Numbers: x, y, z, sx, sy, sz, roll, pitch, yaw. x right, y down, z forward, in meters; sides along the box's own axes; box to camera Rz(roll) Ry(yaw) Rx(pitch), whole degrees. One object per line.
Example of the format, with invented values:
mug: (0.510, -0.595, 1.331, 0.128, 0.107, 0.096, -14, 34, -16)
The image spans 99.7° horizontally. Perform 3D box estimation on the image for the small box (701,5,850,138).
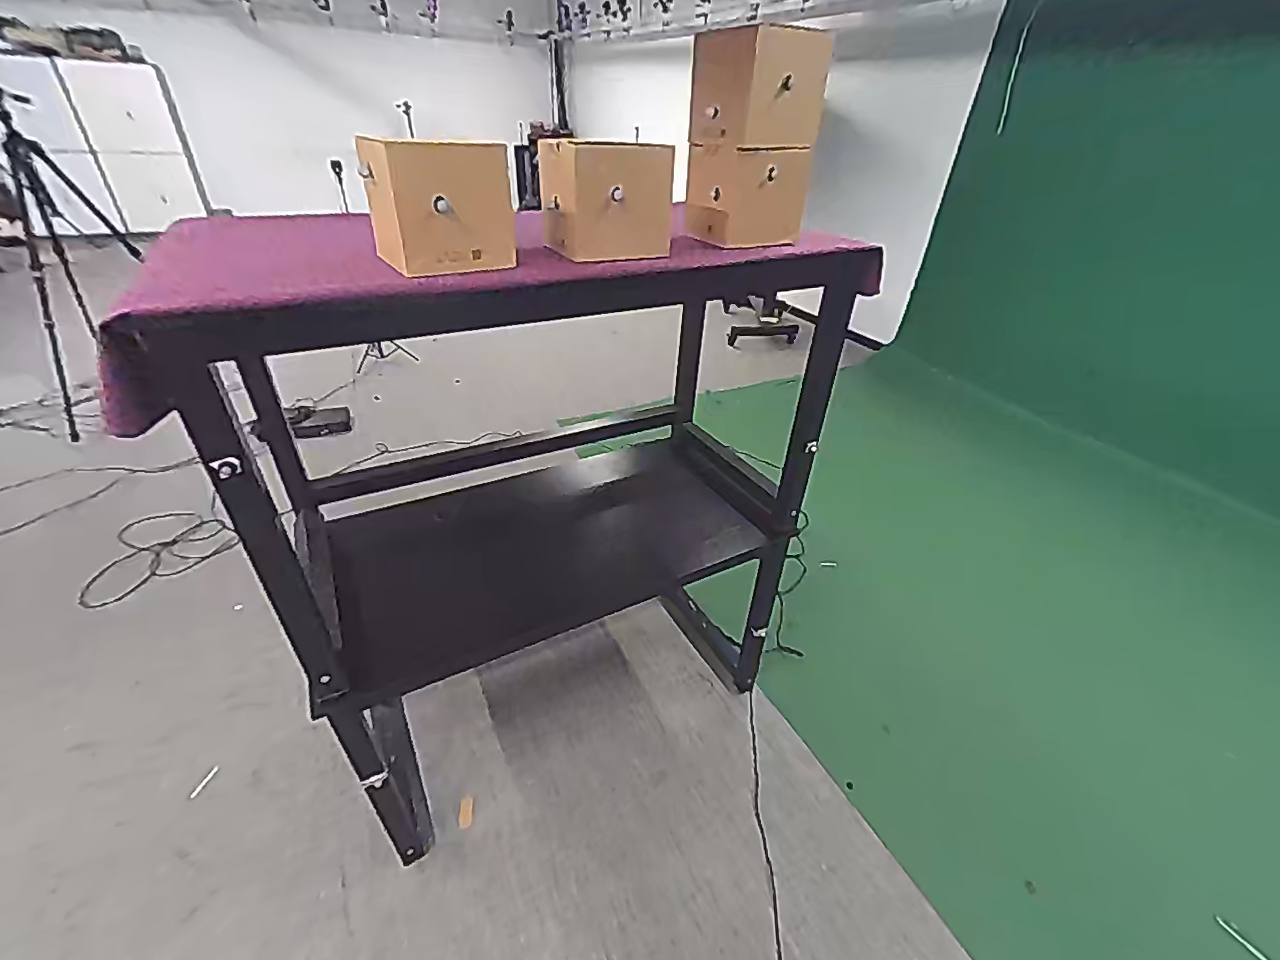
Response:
small box: (0.223, -0.697, 0.935, 0.179, 0.176, 0.168, -18, 40, -25)

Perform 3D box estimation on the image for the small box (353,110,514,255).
small box: (-0.293, -0.430, 0.783, 0.168, 0.176, 0.179, -18, 39, -28)

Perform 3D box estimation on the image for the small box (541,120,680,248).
small box: (-0.051, -0.489, 0.892, 0.179, 0.176, 0.168, -14, 39, -23)

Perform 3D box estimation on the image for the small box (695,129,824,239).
small box: (0.215, -0.564, 1.030, 0.179, 0.176, 0.168, -12, 38, -21)
